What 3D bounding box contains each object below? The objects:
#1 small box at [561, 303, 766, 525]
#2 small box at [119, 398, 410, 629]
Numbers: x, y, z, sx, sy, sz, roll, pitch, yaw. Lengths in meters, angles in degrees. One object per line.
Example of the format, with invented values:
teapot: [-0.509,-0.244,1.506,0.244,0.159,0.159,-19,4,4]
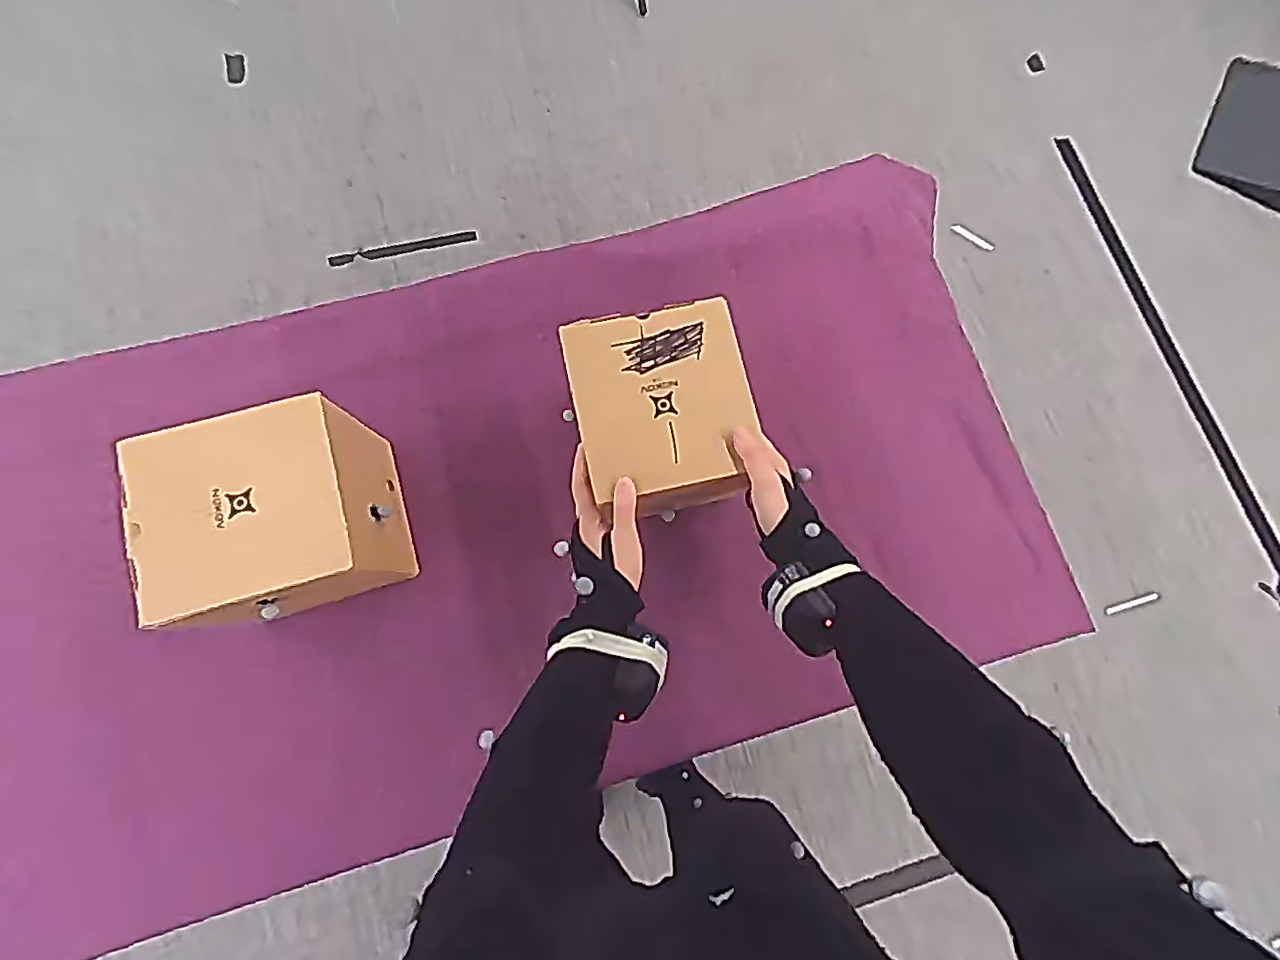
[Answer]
small box: [0.015,-0.059,0.582,0.168,0.176,0.179,-12,80,-5]
small box: [-0.352,0.038,0.544,0.179,0.176,0.168,-16,80,-6]
